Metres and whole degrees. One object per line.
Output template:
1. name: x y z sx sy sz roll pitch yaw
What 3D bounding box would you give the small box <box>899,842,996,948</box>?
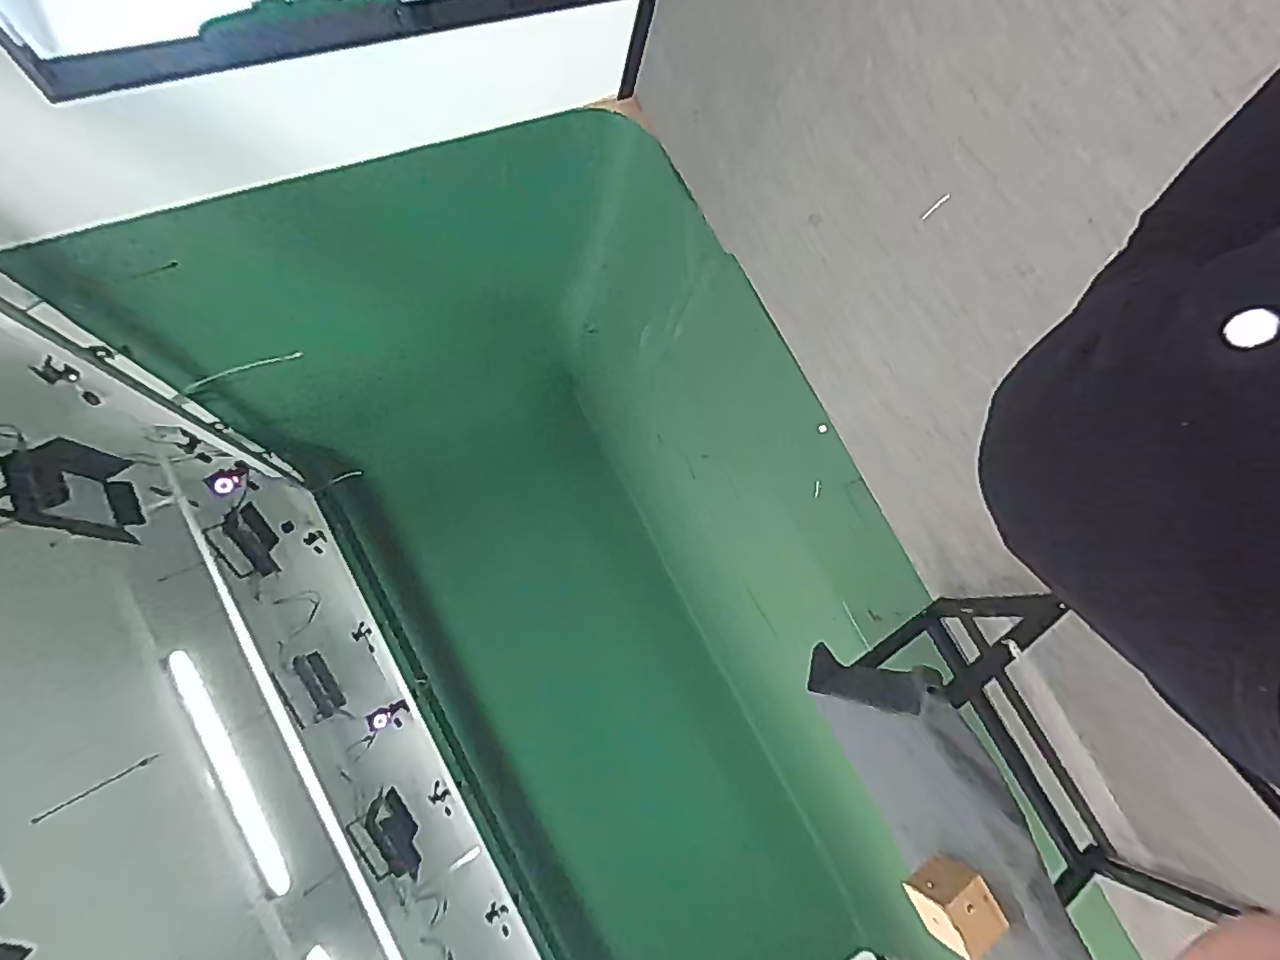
1. small box: 0.962 1.274 1.681 0.168 0.176 0.179 62 162 5
